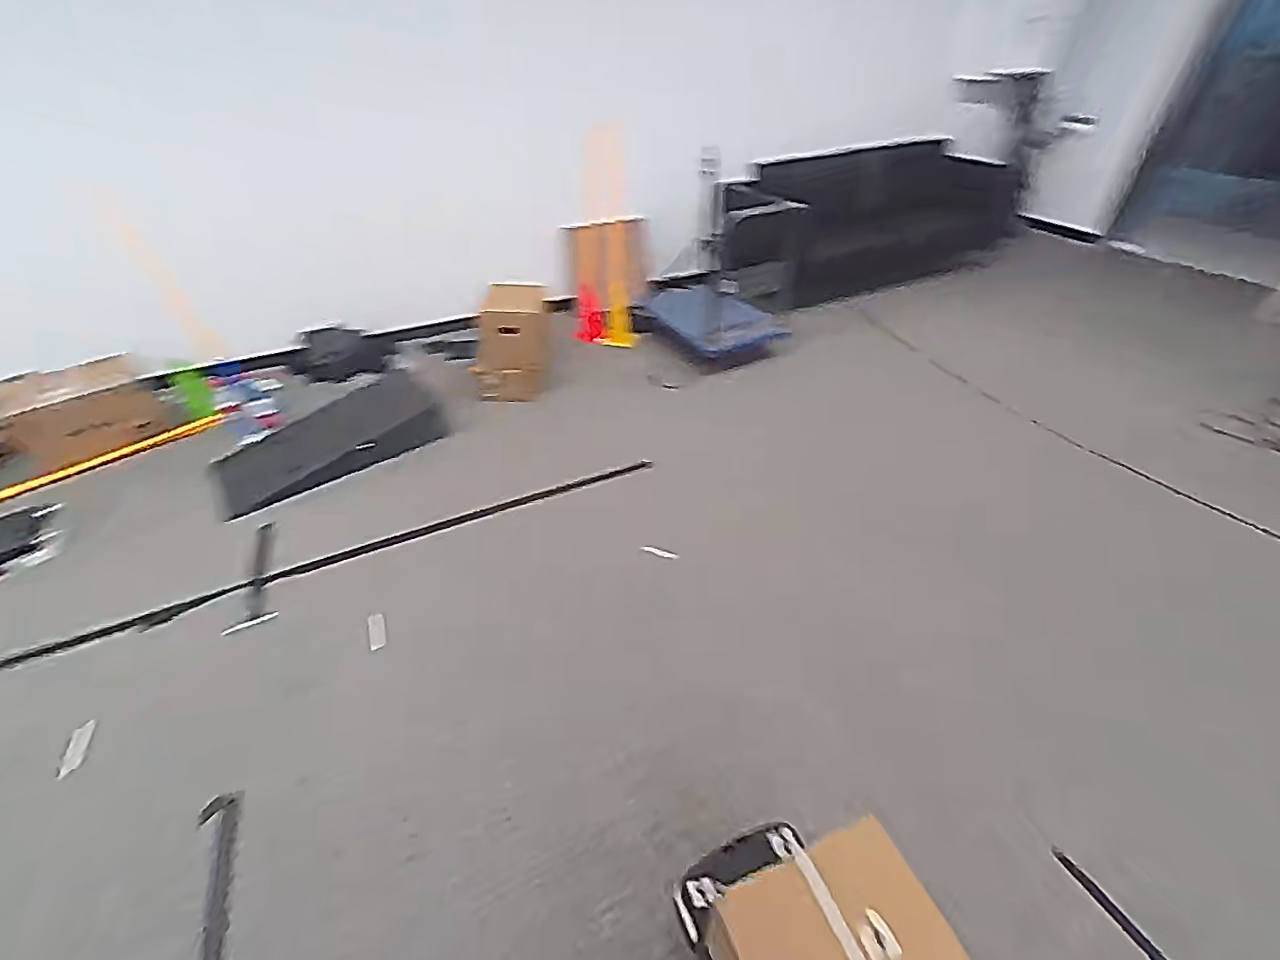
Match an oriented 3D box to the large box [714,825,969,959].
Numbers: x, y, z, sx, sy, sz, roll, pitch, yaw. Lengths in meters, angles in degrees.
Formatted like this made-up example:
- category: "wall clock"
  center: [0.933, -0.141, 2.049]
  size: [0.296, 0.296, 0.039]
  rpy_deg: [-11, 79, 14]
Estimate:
- category: "large box"
  center: [0.340, 0.847, 0.818]
  size: [0.320, 0.320, 0.408]
  rpy_deg: [-14, 39, -15]
